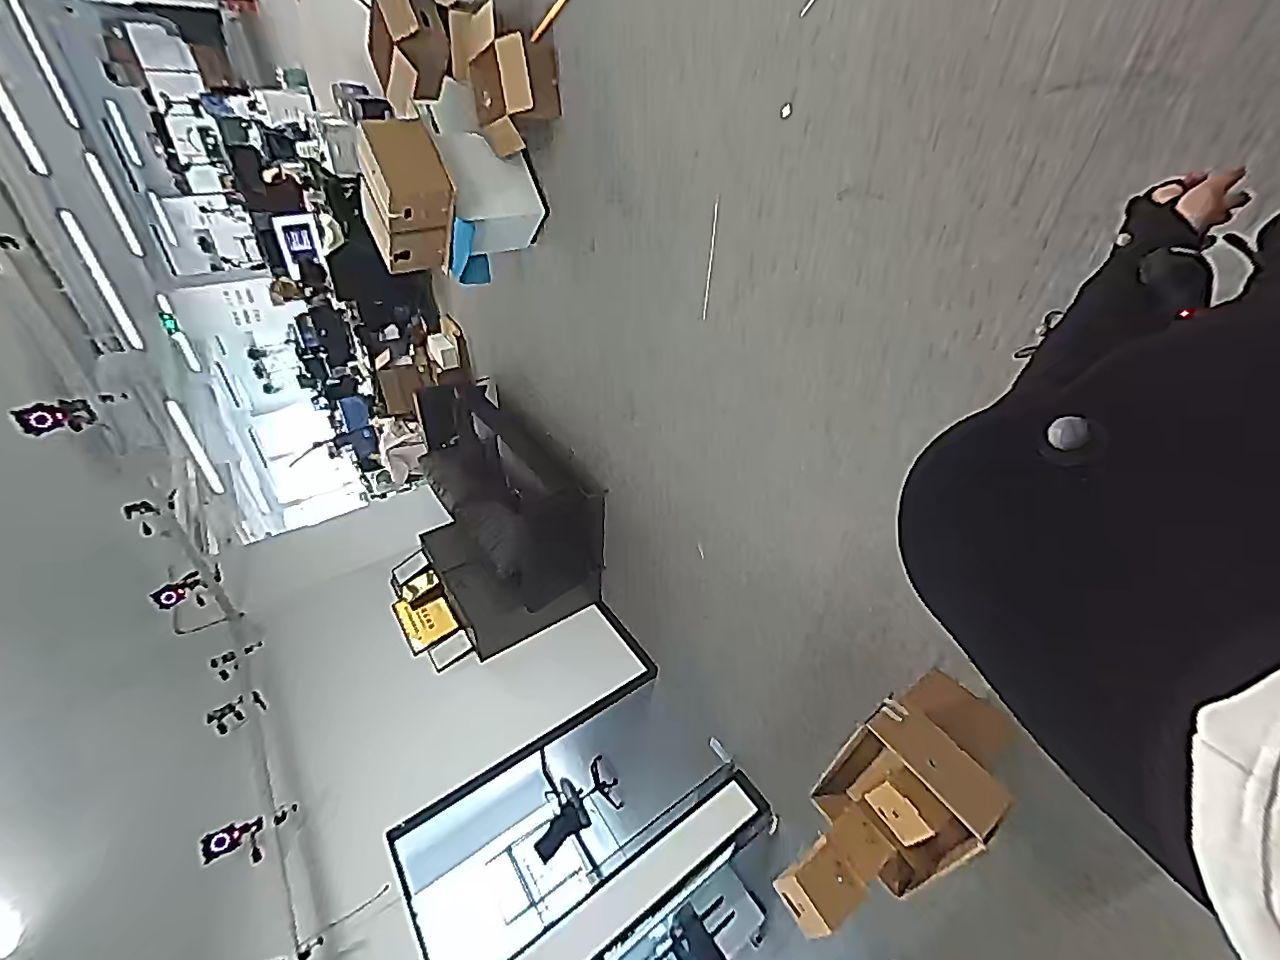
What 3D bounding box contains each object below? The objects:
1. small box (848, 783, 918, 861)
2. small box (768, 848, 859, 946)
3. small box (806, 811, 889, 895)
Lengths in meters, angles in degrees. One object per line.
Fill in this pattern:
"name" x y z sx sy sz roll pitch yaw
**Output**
"small box" 0.788 1.159 1.803 0.168 0.176 0.179 43 140 37
"small box" 0.526 1.260 1.638 0.168 0.176 0.179 51 144 30
"small box" 0.657 1.206 1.720 0.168 0.176 0.179 44 140 38
